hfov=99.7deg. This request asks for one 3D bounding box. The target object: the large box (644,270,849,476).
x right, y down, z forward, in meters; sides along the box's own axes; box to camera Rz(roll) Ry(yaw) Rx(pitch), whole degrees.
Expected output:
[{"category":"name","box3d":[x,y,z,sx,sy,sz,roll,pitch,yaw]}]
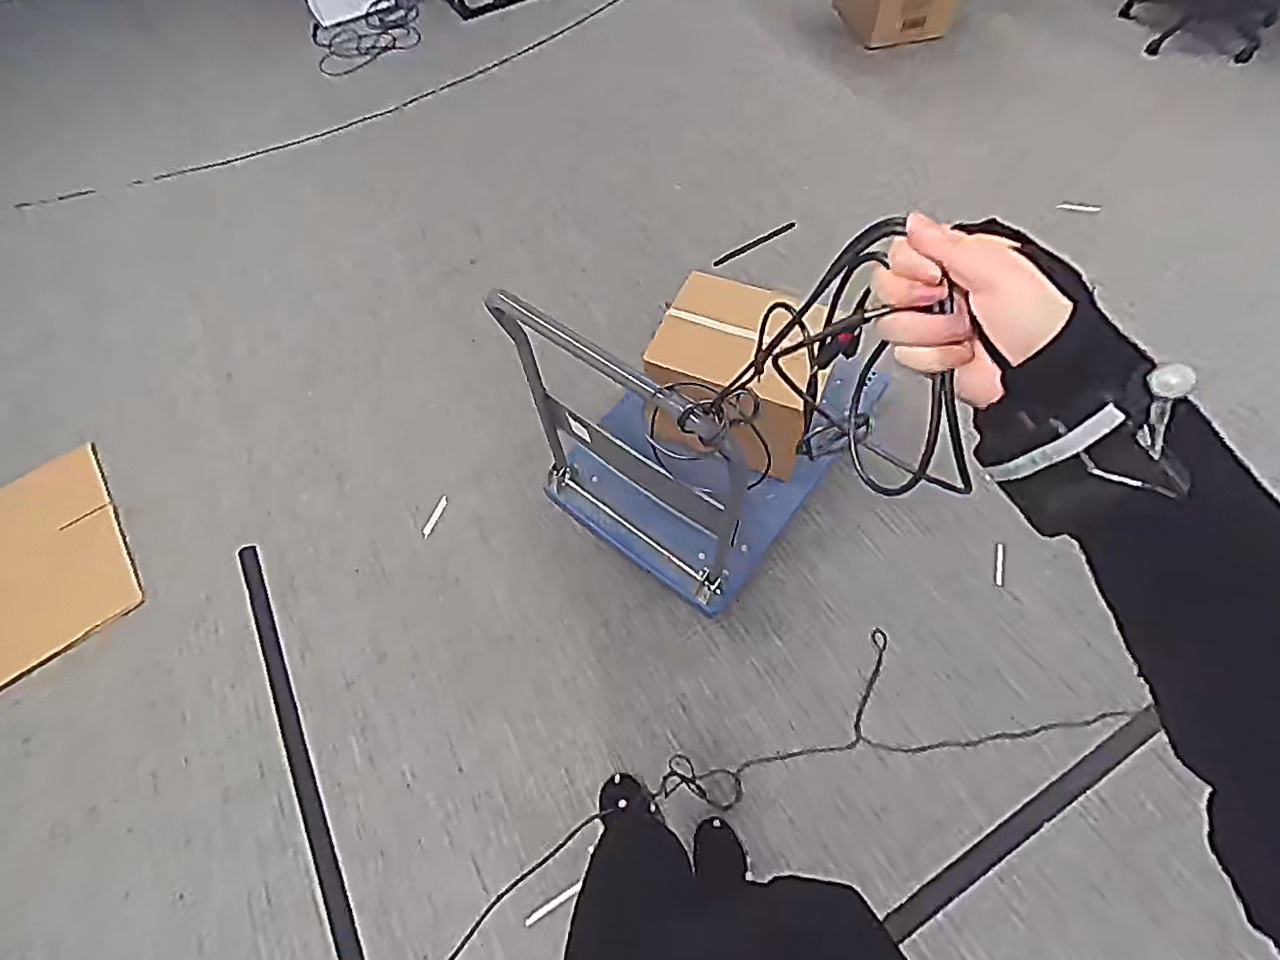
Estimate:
[{"category":"large box","box3d":[0.251,-0.265,1.372,0.408,0.320,0.320,22,67,13]}]
